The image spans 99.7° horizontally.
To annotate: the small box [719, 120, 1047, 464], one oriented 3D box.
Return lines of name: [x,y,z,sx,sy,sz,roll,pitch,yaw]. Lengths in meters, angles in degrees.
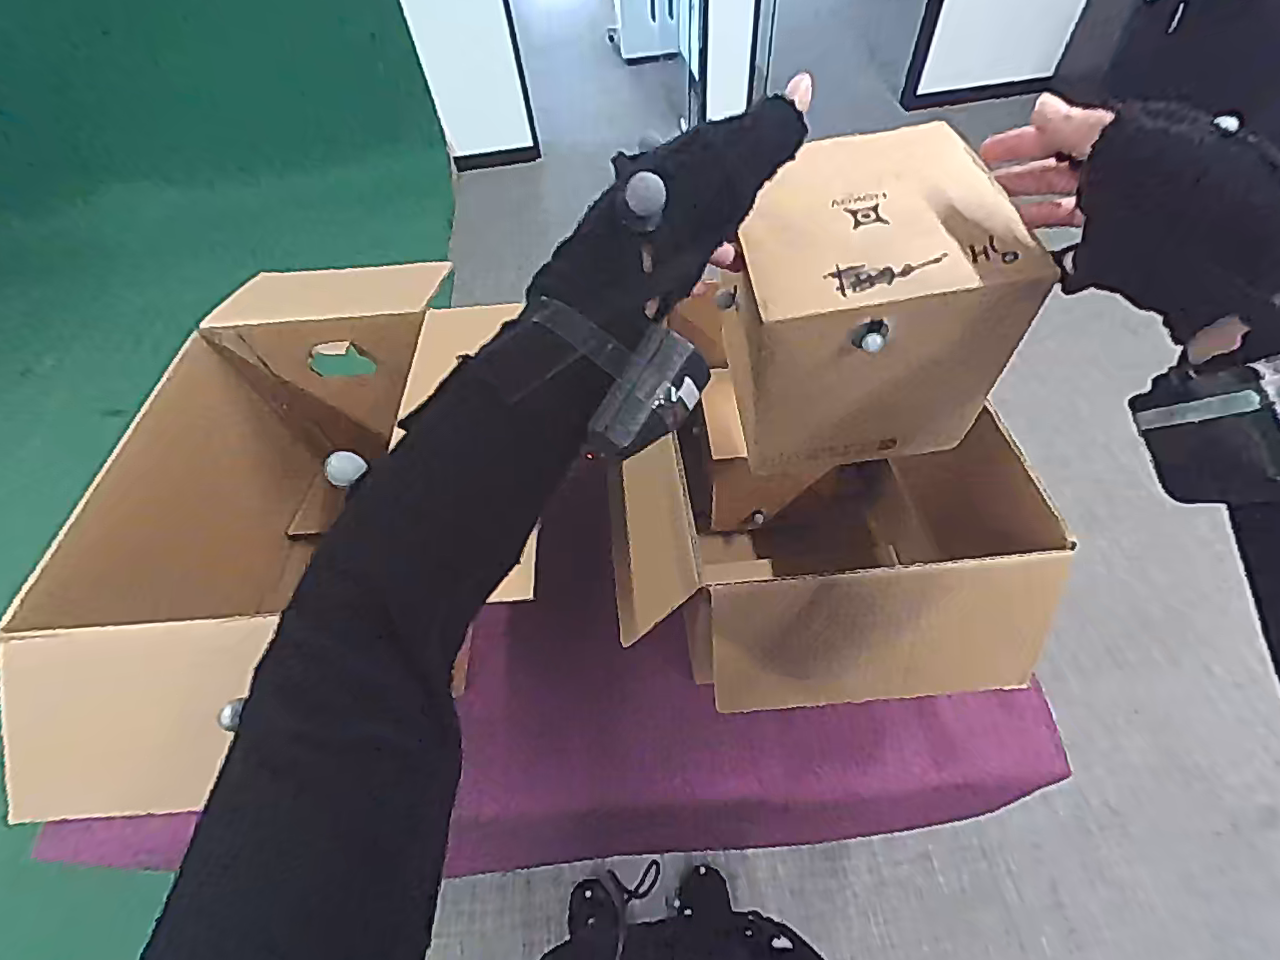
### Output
small box: [0.154,-0.136,0.419,0.168,0.176,0.179,-8,57,6]
